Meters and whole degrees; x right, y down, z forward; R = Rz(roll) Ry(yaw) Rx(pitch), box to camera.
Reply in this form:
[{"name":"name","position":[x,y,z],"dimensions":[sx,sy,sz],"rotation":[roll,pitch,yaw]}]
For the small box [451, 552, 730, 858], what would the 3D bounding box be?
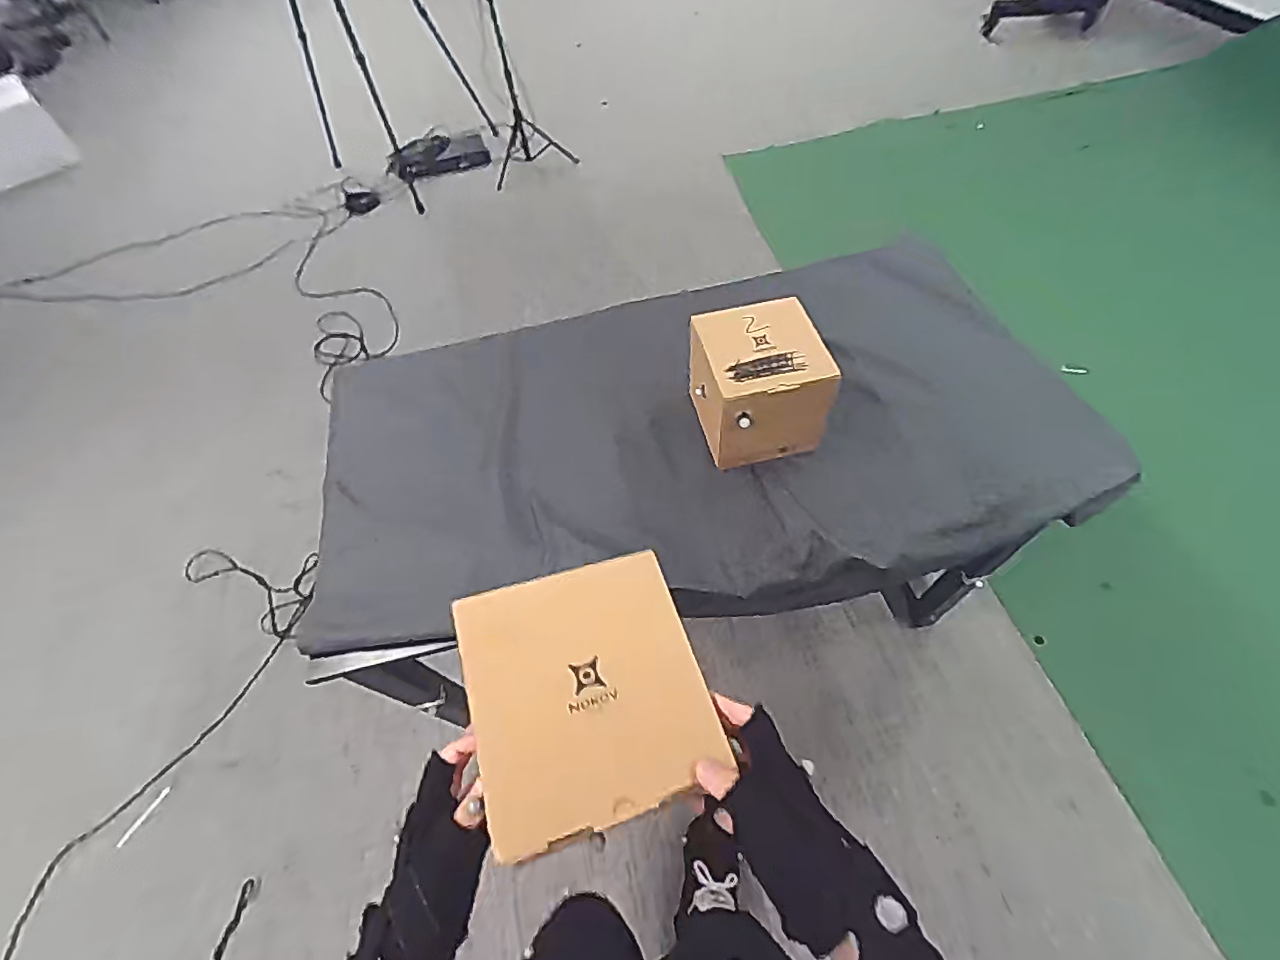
[{"name":"small box","position":[-0.054,0.190,0.455],"dimensions":[0.168,0.176,0.179],"rotation":[-13,59,-18]}]
